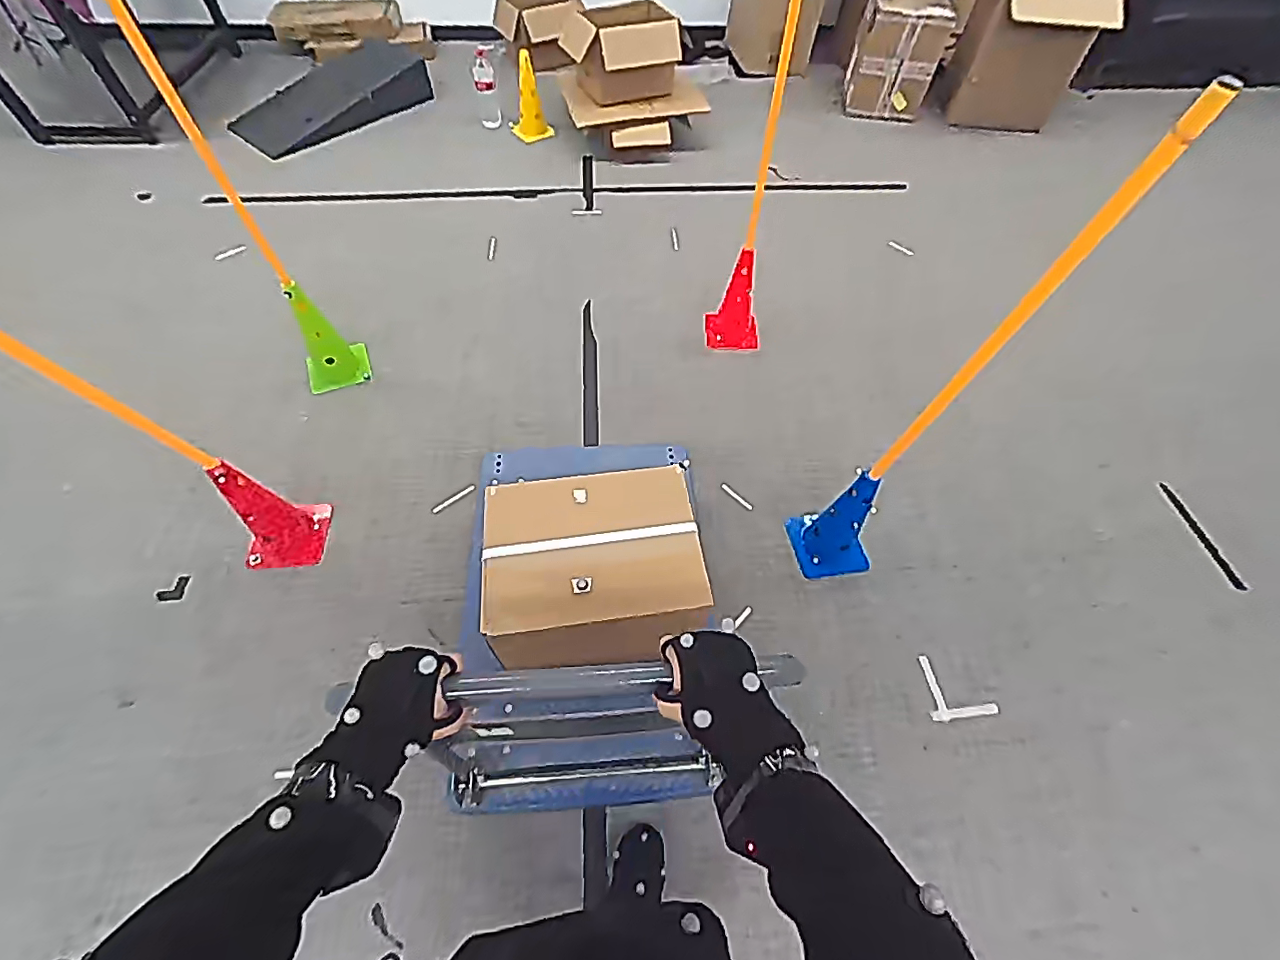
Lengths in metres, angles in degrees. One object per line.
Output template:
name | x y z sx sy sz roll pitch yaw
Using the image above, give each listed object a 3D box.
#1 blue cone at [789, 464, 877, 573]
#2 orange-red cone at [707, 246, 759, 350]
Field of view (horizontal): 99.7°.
blue cone | 0.552 0.089 1.447 0.193 0.380 0.192 -6 56 -6
orange-red cone | 0.361 -0.664 1.923 0.199 0.360 0.198 3 57 -1
